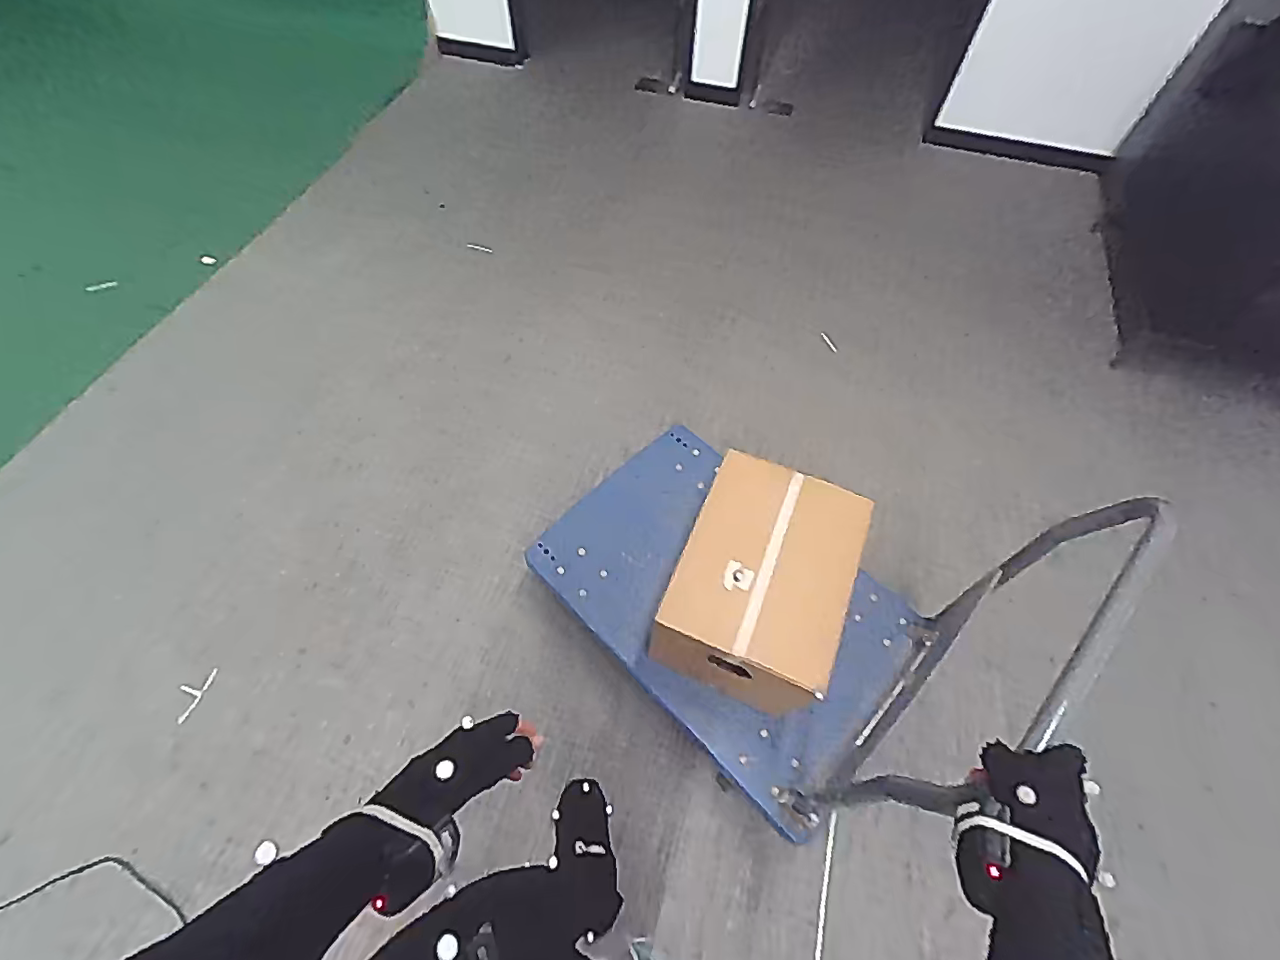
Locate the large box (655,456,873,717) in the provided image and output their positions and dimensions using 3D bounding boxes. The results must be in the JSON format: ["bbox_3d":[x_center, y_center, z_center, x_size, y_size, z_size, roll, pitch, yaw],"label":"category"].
[{"bbox_3d":[0.250,0.230,1.150,0.320,0.320,0.408,21,62,11],"label":"large box"}]
